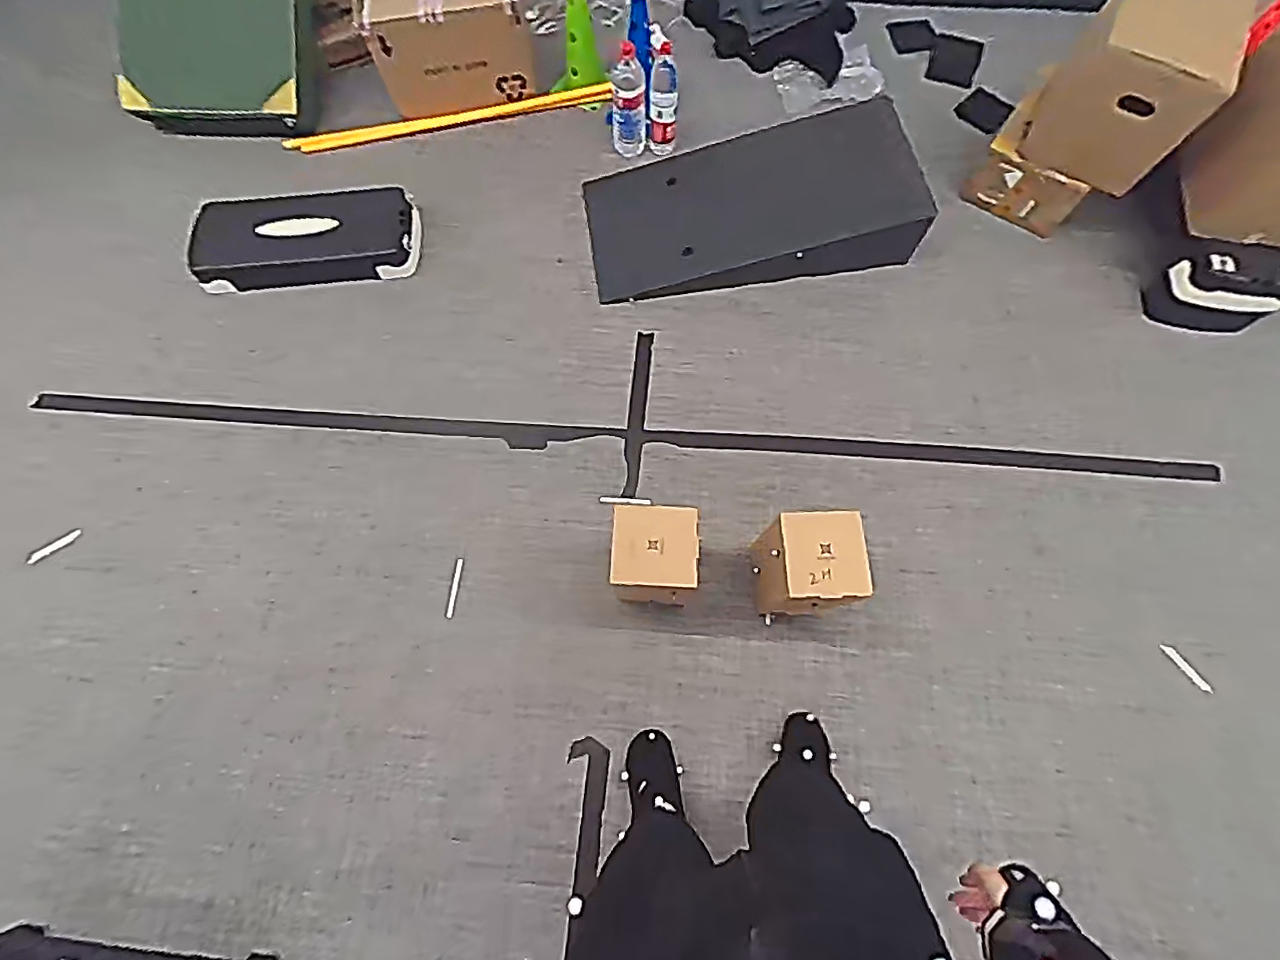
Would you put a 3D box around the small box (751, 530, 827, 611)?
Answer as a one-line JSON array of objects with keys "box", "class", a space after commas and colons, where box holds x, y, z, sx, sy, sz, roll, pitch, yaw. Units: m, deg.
[{"box": [0.368, 0.221, 1.299, 0.168, 0.176, 0.179, -2, 71, 0], "class": "small box"}]

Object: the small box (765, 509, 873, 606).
[{"box": [0.367, 0.168, 1.143, 0.168, 0.176, 0.179, -1, 71, 0], "class": "small box"}]

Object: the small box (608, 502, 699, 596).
[{"box": [0.030, 0.152, 1.151, 0.179, 0.176, 0.168, 3, 71, 2], "class": "small box"}]

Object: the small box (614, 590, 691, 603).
[{"box": [0.033, 0.202, 1.307, 0.179, 0.176, 0.168, 5, 71, 1], "class": "small box"}]
